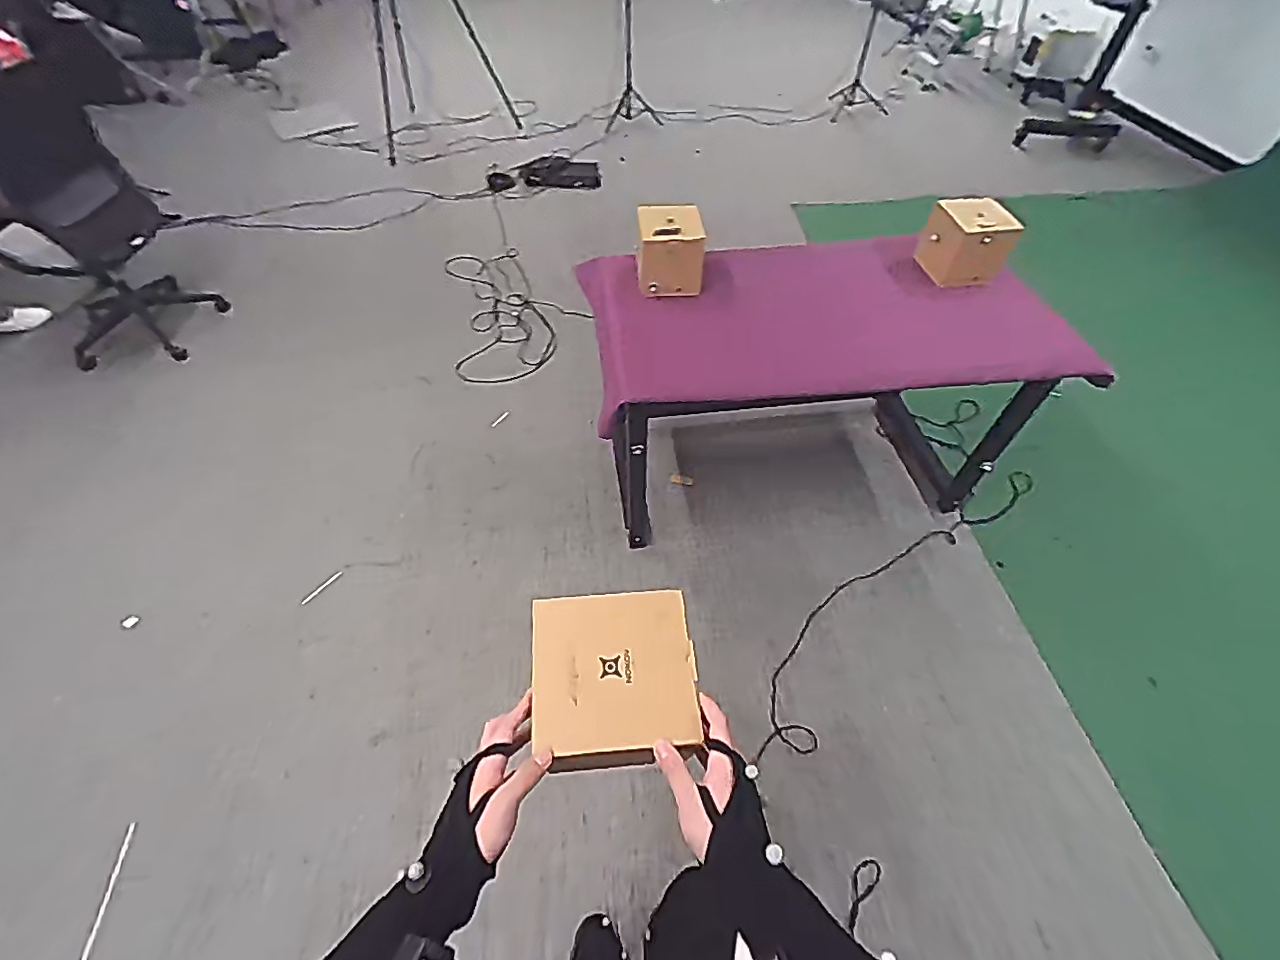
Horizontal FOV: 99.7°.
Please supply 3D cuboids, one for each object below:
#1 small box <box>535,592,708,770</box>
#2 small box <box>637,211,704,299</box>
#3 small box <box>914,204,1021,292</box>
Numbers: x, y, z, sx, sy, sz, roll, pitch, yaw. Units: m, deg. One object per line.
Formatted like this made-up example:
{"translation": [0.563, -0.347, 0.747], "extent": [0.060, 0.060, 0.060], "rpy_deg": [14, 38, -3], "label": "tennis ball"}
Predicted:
{"translation": [-0.026, 0.244, 0.647], "extent": [0.179, 0.176, 0.168], "rpy_deg": [-3, 57, -4], "label": "small box"}
{"translation": [0.080, -0.619, 1.500], "extent": [0.168, 0.176, 0.179], "rpy_deg": [-3, 53, -4], "label": "small box"}
{"translation": [0.918, -0.659, 1.538], "extent": [0.168, 0.176, 0.179], "rpy_deg": [-7, 52, -4], "label": "small box"}
